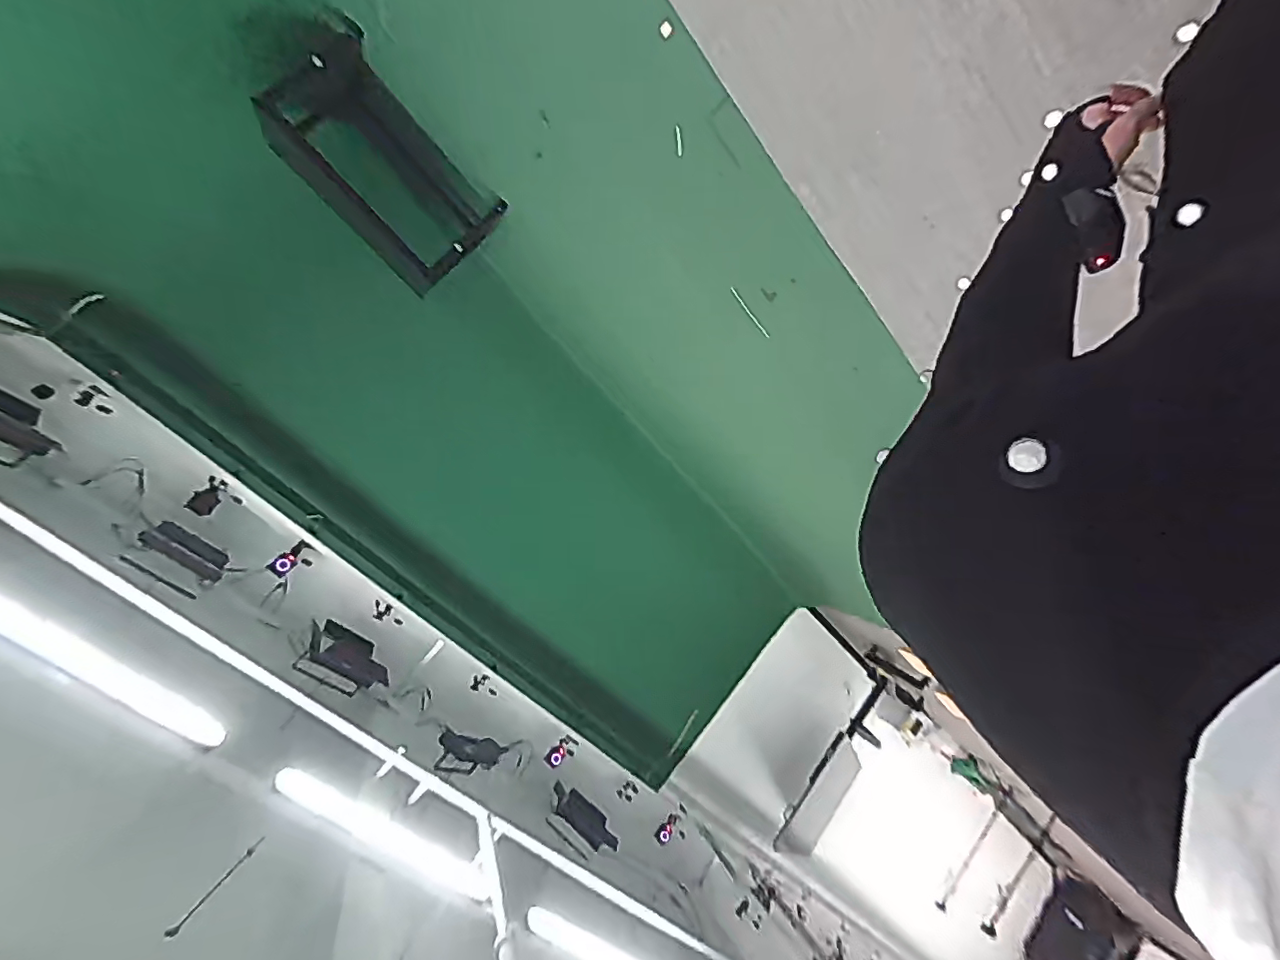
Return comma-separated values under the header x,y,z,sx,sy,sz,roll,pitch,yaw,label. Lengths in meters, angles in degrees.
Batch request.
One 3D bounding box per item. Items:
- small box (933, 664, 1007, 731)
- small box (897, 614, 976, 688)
x,y,z,sx,sy,sz,roll,pitch,yaw,label
1.317,0.850,2.149,0.179,0.176,0.168,48,164,-20,small box
1.118,0.638,2.029,0.179,0.176,0.168,44,166,-21,small box
